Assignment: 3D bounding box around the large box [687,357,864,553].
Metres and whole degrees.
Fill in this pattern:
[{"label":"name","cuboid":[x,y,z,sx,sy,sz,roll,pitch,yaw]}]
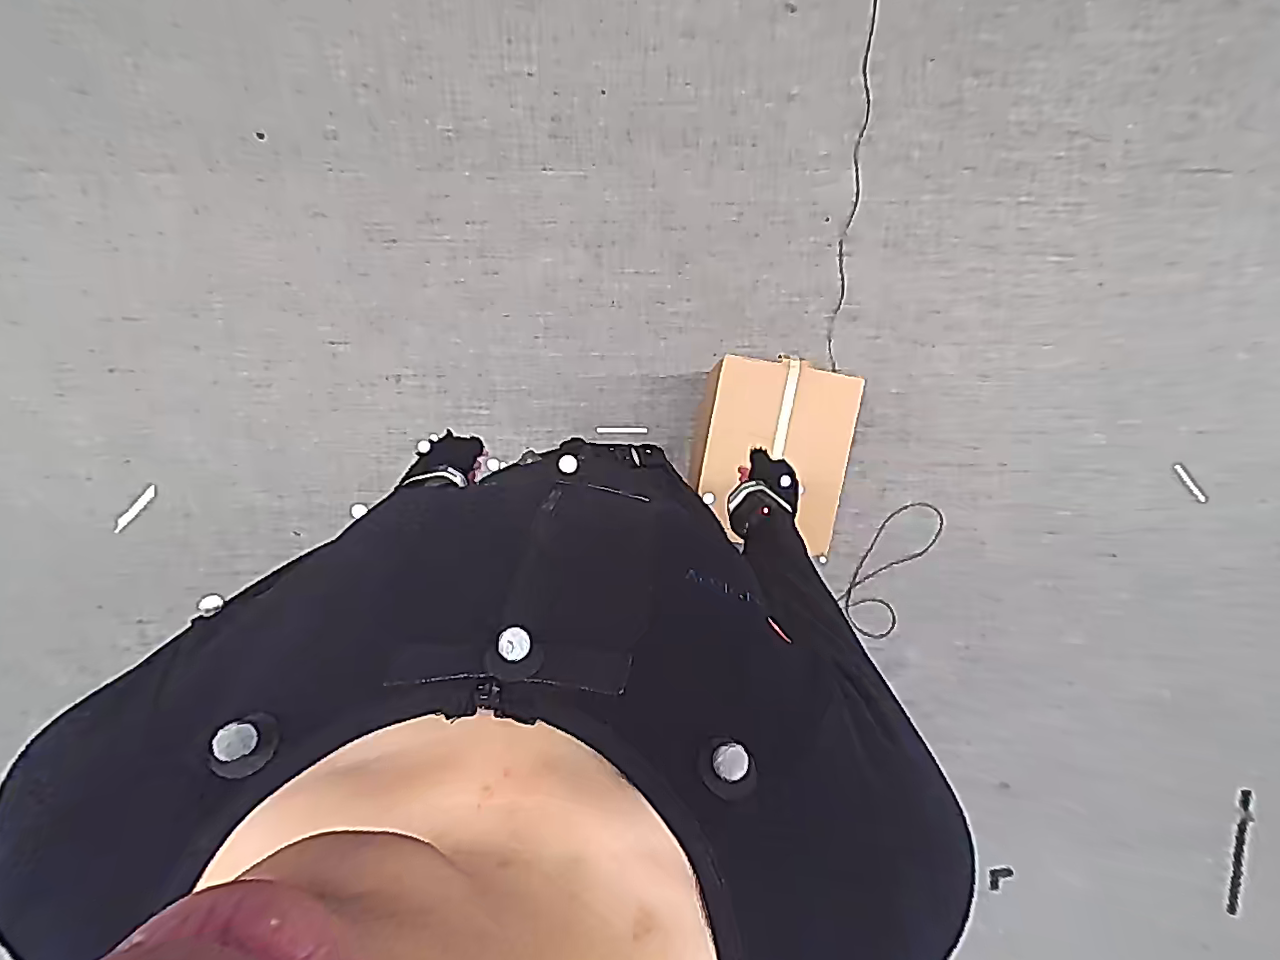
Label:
[{"label":"large box","cuboid":[0.313,-0.070,1.353,0.320,0.320,0.408,11,96,0]}]
